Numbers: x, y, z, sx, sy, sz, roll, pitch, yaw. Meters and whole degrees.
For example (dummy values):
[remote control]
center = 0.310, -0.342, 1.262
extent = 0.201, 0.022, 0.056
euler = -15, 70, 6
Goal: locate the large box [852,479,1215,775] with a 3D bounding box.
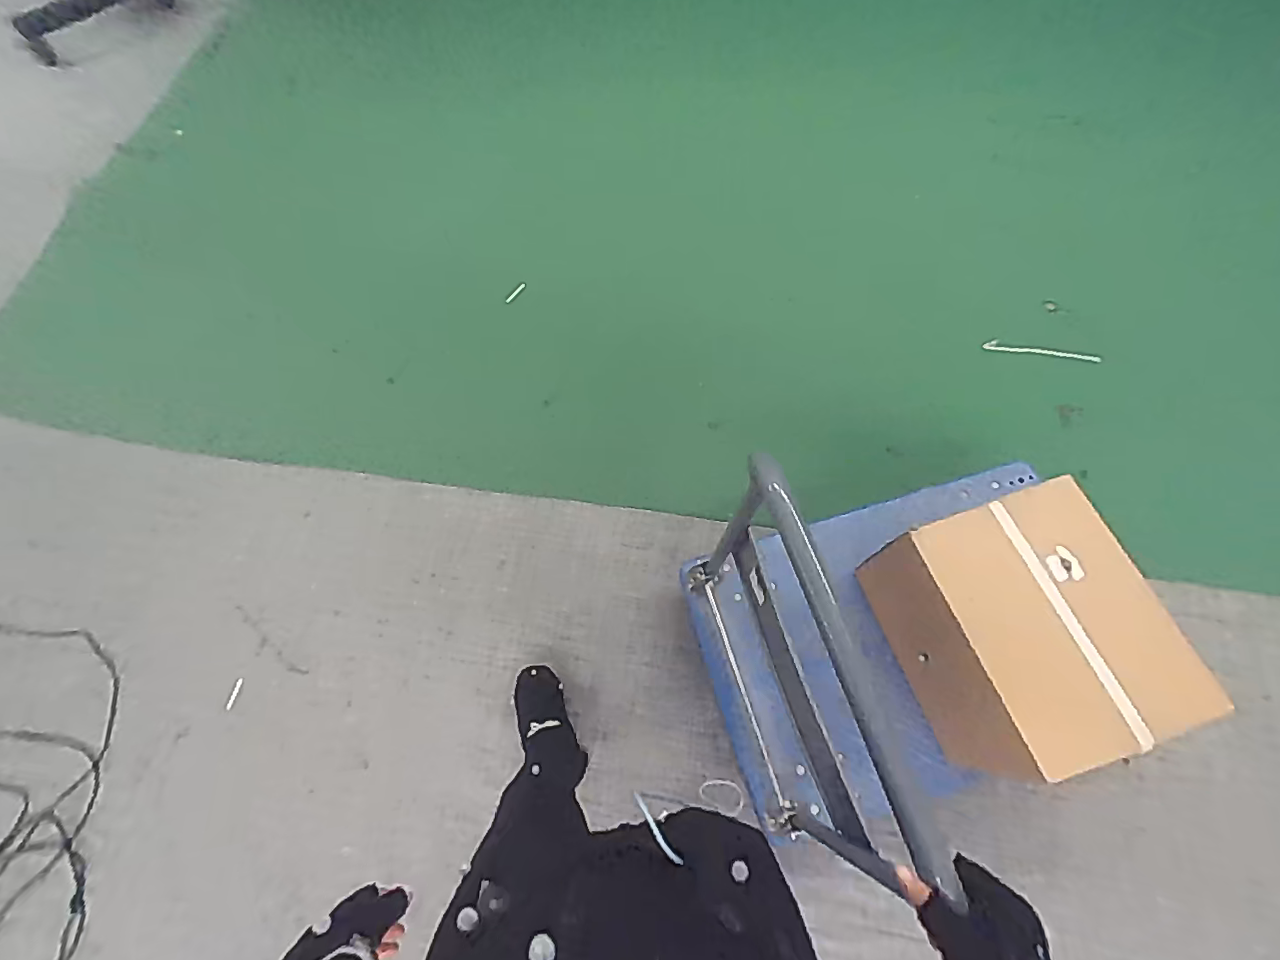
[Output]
[large box]
center = 0.667, 0.274, 1.011
extent = 0.320, 0.320, 0.408
euler = -18, 67, -5
